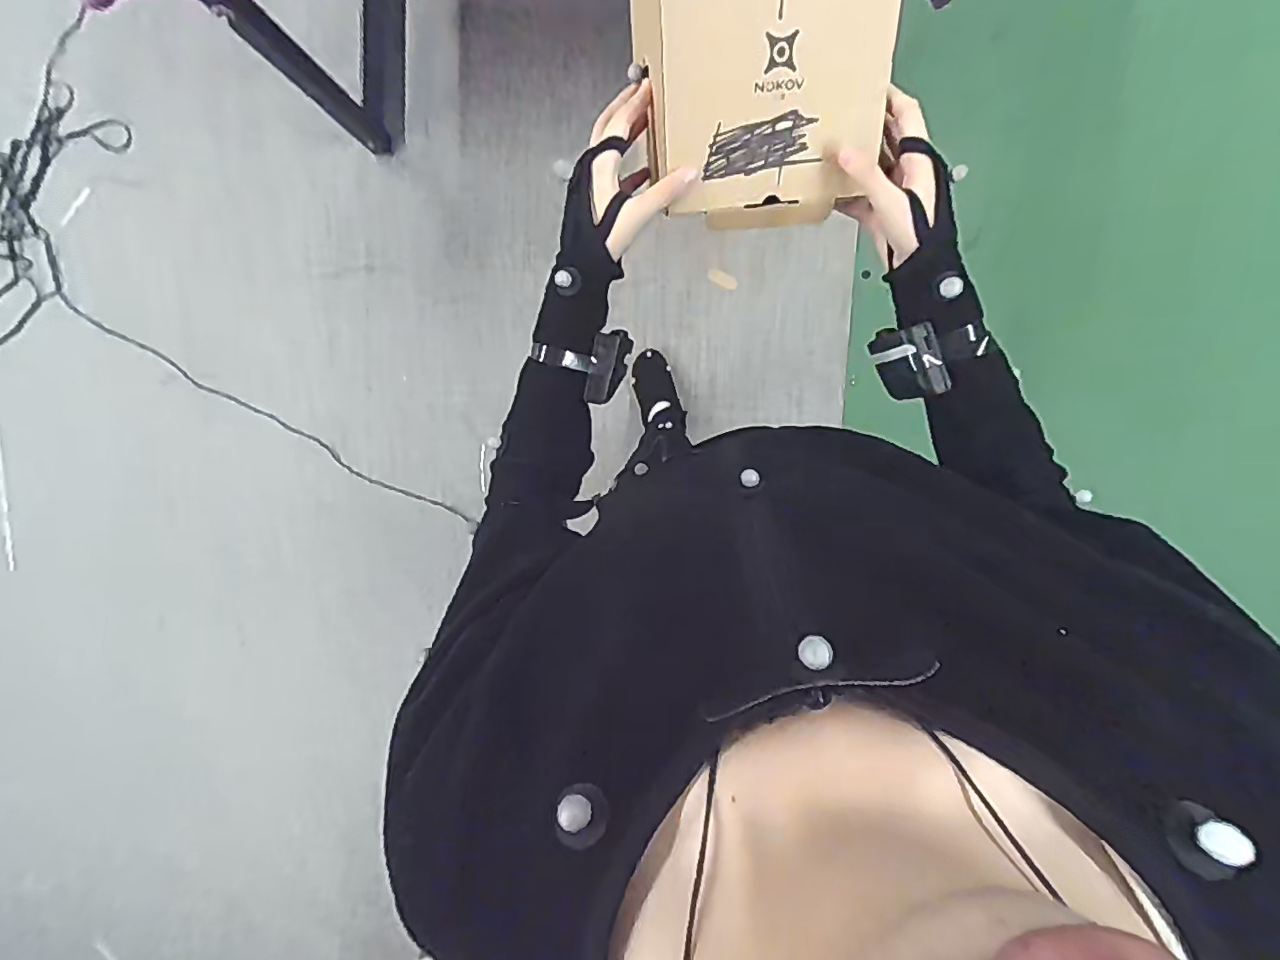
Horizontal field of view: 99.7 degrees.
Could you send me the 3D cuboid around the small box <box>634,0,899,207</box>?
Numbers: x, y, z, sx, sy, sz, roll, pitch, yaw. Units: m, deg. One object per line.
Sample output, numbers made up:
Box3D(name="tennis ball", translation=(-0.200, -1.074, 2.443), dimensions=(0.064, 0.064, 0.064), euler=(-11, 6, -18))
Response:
Box3D(name="small box", translation=(0.087, -0.335, 0.441), dimensions=(0.168, 0.176, 0.179), euler=(-6, 123, -3))
